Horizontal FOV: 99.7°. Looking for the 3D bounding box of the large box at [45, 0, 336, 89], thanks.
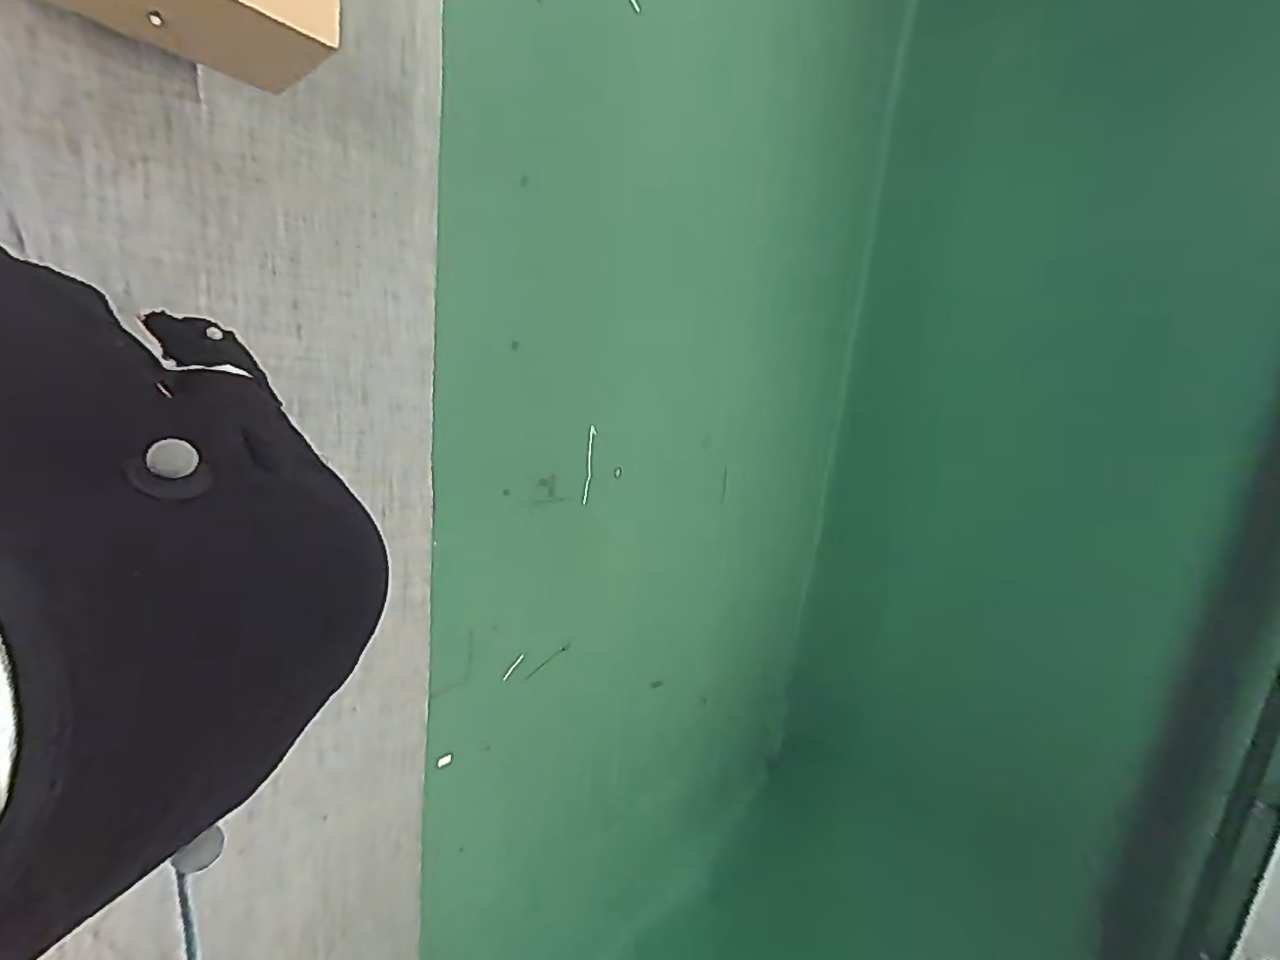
[{"bbox_3d":[-0.718,-0.862,0.796,0.408,0.320,0.320,-5,106,-48],"label":"large box"}]
